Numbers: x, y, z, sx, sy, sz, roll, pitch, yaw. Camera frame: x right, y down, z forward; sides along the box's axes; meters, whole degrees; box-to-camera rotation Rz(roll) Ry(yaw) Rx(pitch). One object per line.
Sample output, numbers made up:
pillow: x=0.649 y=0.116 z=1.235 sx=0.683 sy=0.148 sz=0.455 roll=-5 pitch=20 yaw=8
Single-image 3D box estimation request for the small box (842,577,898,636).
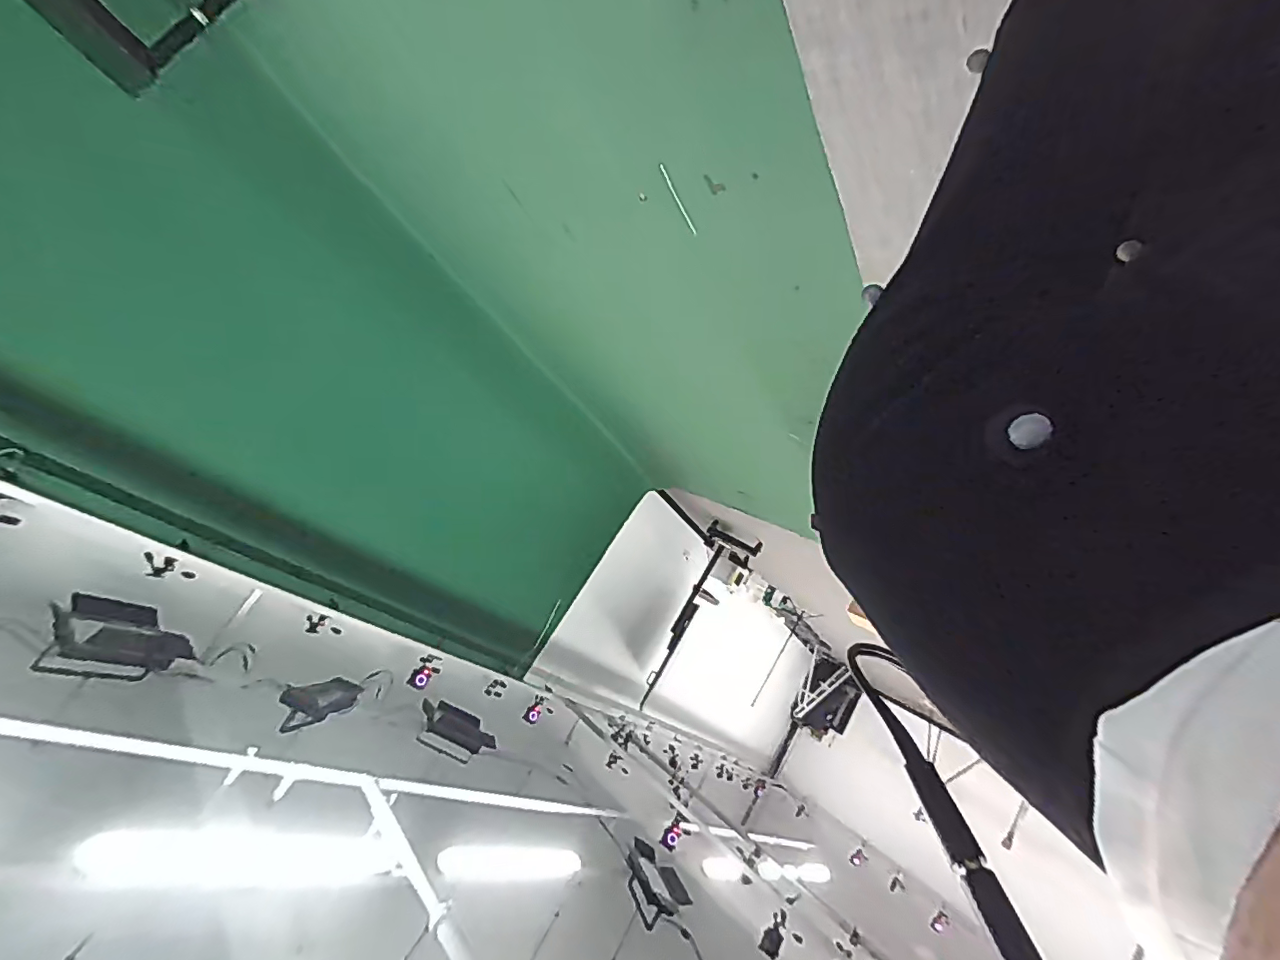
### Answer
small box: x=1.026 y=0.557 z=2.398 sx=0.168 sy=0.176 sz=0.179 roll=20 pitch=162 yaw=41
